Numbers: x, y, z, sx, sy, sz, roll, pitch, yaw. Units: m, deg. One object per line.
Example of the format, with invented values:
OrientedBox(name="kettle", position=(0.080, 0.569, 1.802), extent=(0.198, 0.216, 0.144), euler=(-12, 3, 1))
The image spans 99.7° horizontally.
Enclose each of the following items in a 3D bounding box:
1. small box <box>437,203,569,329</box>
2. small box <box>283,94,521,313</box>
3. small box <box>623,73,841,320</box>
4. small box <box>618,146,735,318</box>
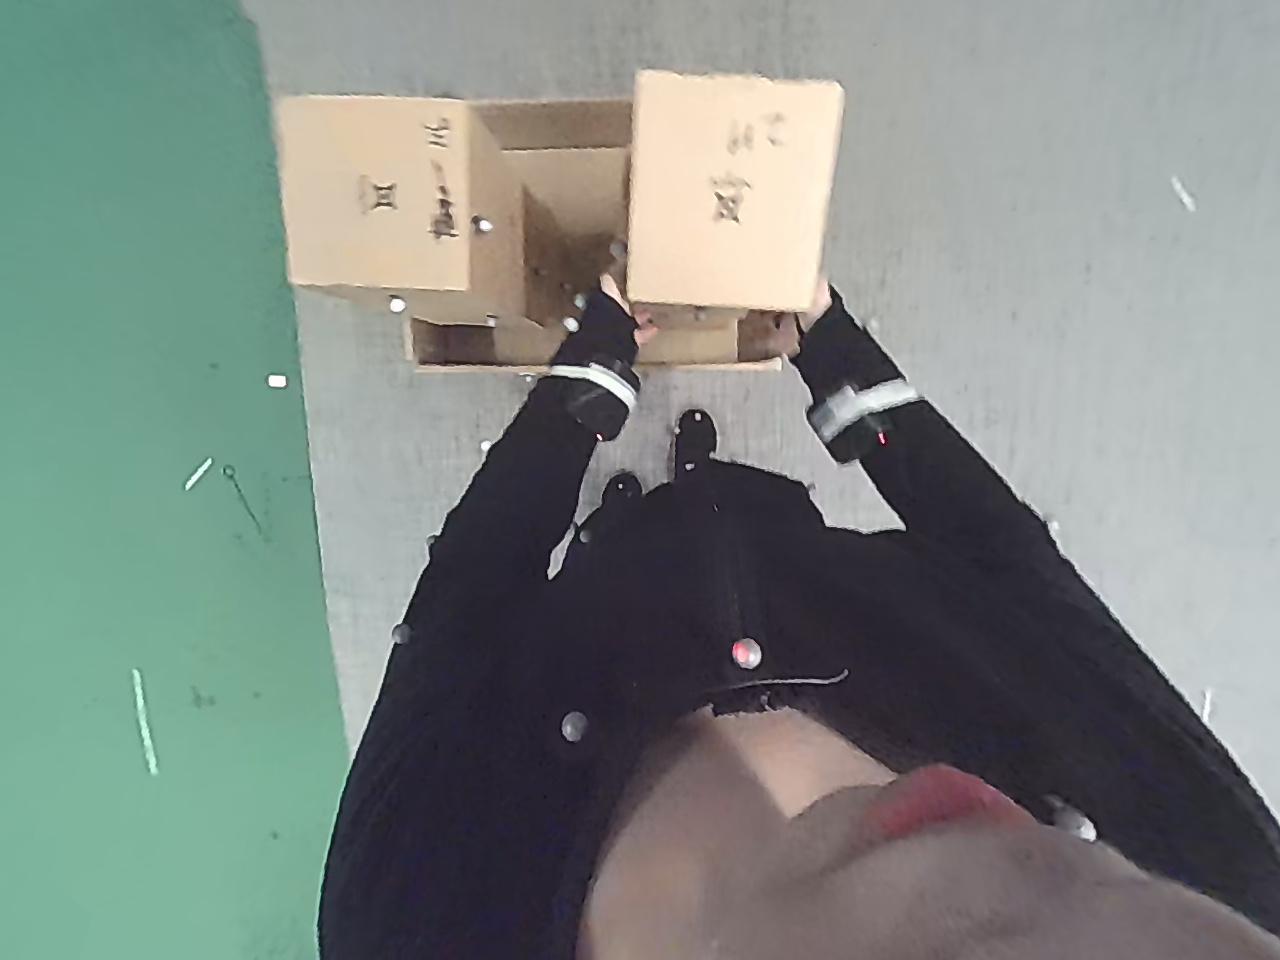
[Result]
OrientedBox(name="small box", position=(-0.222, -0.346, 0.896), extent=(0.179, 0.176, 0.168), euler=(3, 99, 2))
OrientedBox(name="small box", position=(-0.239, -0.277, 0.577), extent=(0.179, 0.176, 0.168), euler=(4, 100, 3))
OrientedBox(name="small box", position=(0.072, -0.257, 0.528), extent=(0.168, 0.176, 0.179), euler=(4, 108, -3))
OrientedBox(name="small box", position=(0.069, -0.314, 0.716), extent=(0.179, 0.176, 0.168), euler=(4, 99, 2))
